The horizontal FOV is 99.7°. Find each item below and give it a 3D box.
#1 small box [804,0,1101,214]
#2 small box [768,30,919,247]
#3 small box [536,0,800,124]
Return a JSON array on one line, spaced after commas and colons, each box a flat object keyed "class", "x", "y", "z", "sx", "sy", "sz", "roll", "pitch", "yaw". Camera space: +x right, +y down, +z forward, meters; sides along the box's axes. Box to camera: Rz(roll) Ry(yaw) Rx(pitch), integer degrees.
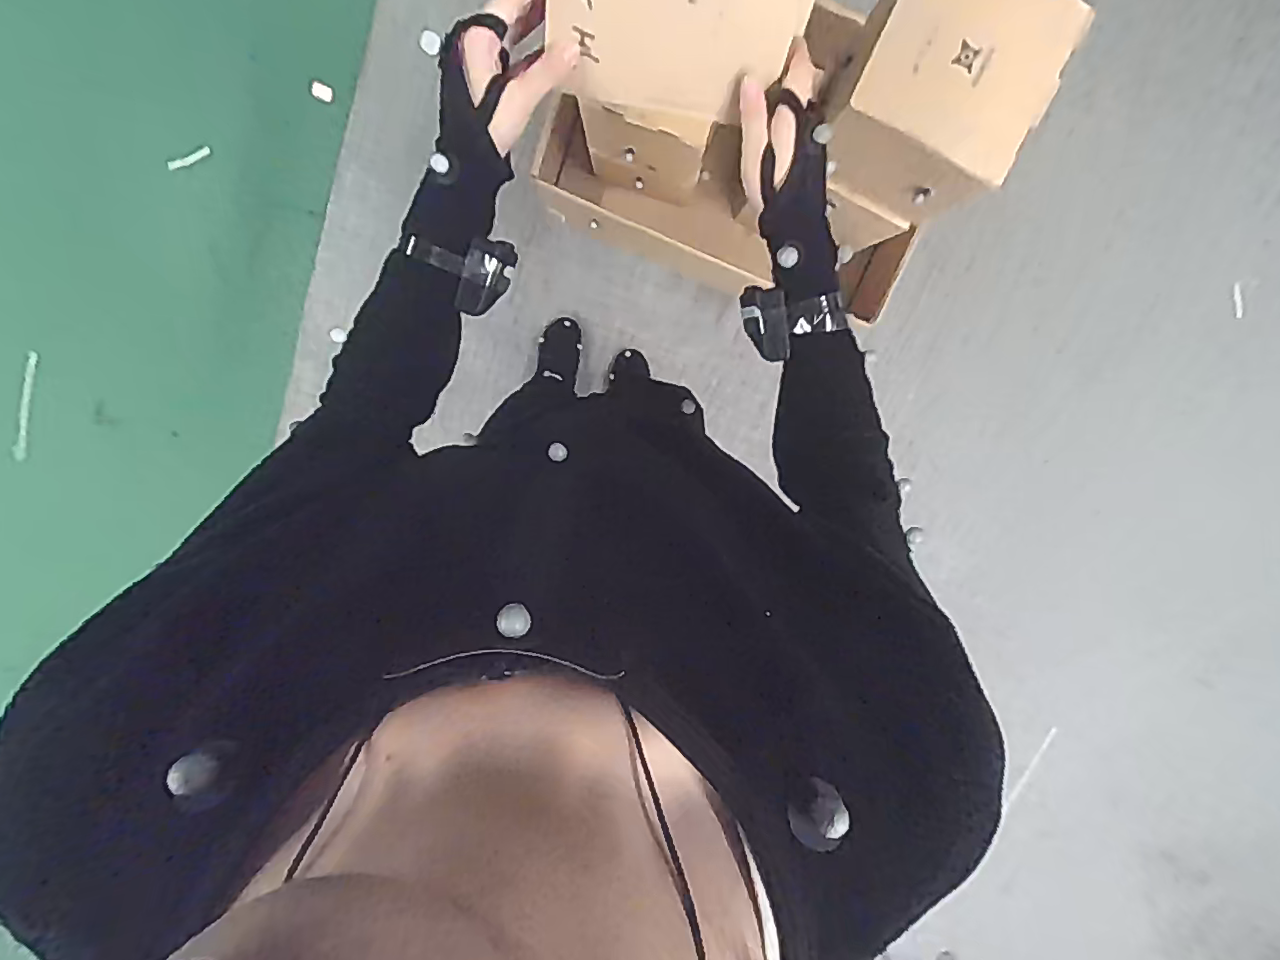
[{"class": "small box", "x": 0.306, "y": -0.408, "z": 0.574, "sx": 0.179, "sy": 0.176, "sz": 0.168, "roll": 25, "pitch": 102, "yaw": -5}, {"class": "small box", "x": 0.297, "y": -0.439, "z": 0.734, "sx": 0.179, "sy": 0.176, "sz": 0.168, "roll": 25, "pitch": 102, "yaw": -6}, {"class": "small box", "x": 0.020, "y": -0.395, "z": 0.393, "sx": 0.179, "sy": 0.176, "sz": 0.168, "roll": 4, "pitch": 141, "yaw": -9}]
